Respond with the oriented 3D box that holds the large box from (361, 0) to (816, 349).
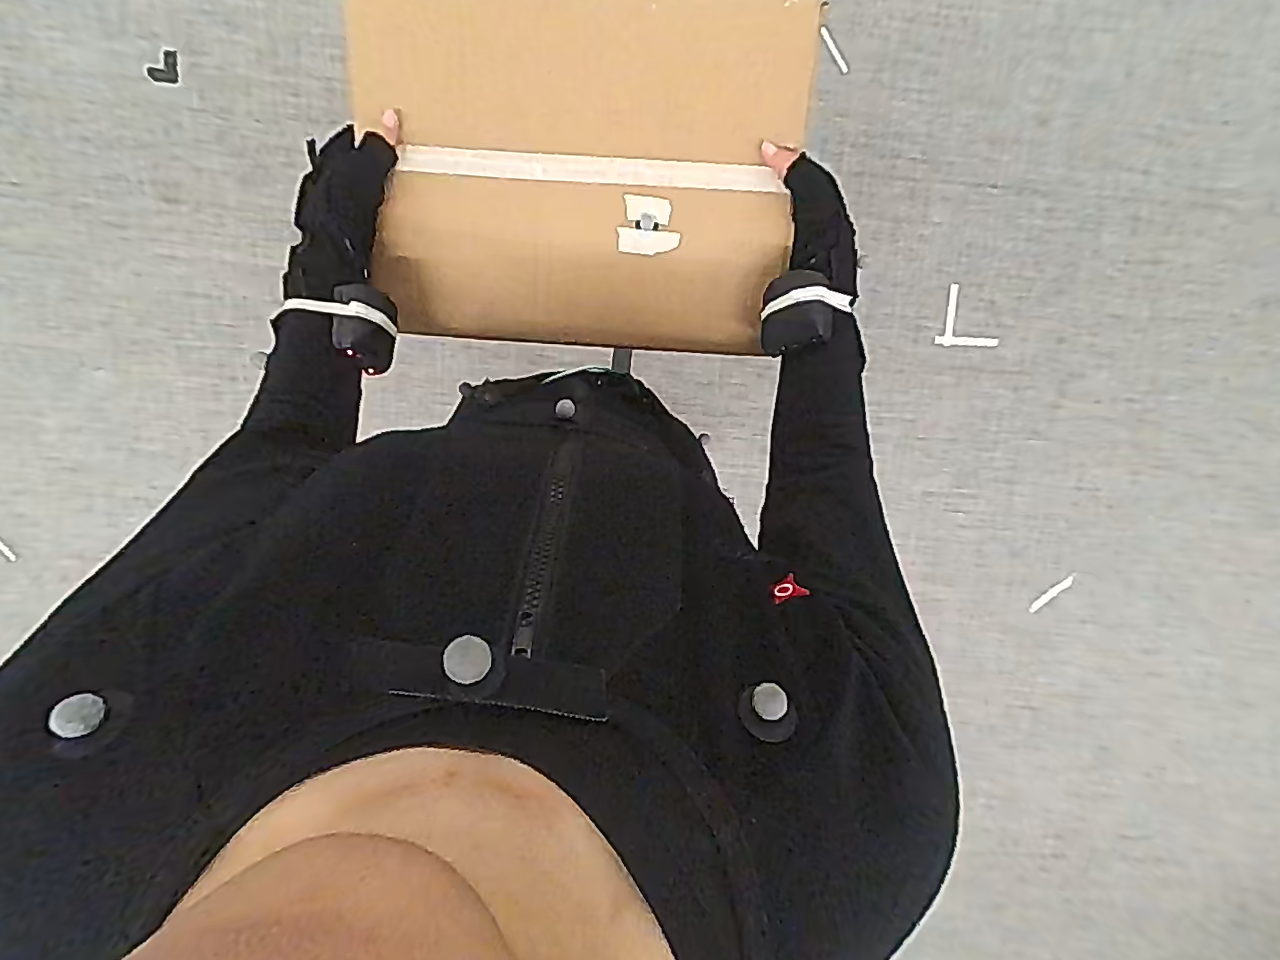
[{"bbox_3d":[-0.053,-0.332,0.650,0.408,0.320,0.320,3,108,-1],"label":"large box"}]
